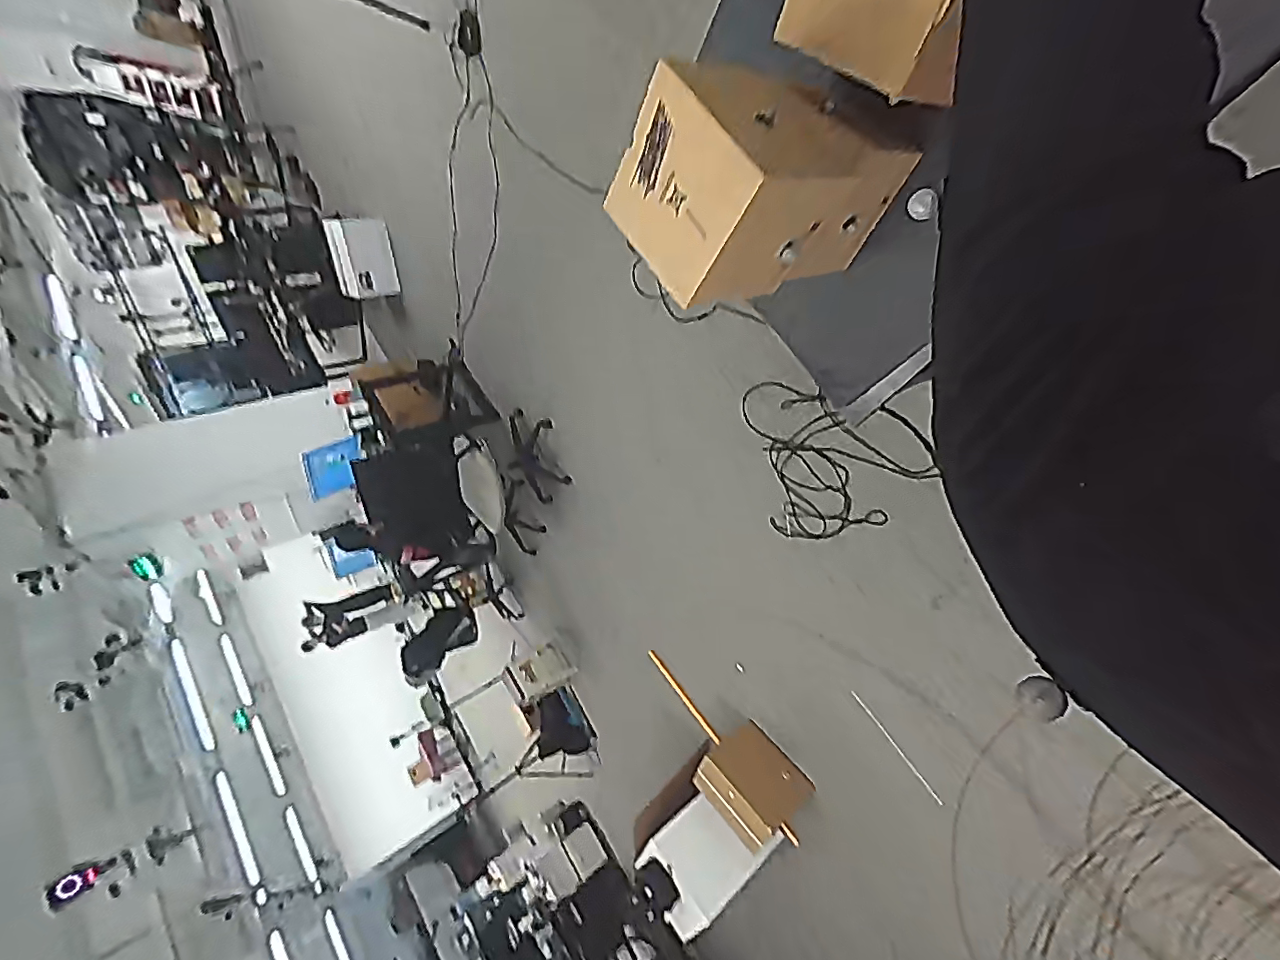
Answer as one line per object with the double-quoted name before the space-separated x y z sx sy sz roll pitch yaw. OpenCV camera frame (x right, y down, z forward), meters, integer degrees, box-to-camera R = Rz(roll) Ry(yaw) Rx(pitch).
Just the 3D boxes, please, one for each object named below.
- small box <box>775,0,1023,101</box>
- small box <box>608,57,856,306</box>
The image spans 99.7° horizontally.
"small box" 0.280 -0.511 0.550 0.179 0.176 0.168 49 141 25
"small box" 0.098 -0.326 0.610 0.179 0.176 0.168 56 144 14
